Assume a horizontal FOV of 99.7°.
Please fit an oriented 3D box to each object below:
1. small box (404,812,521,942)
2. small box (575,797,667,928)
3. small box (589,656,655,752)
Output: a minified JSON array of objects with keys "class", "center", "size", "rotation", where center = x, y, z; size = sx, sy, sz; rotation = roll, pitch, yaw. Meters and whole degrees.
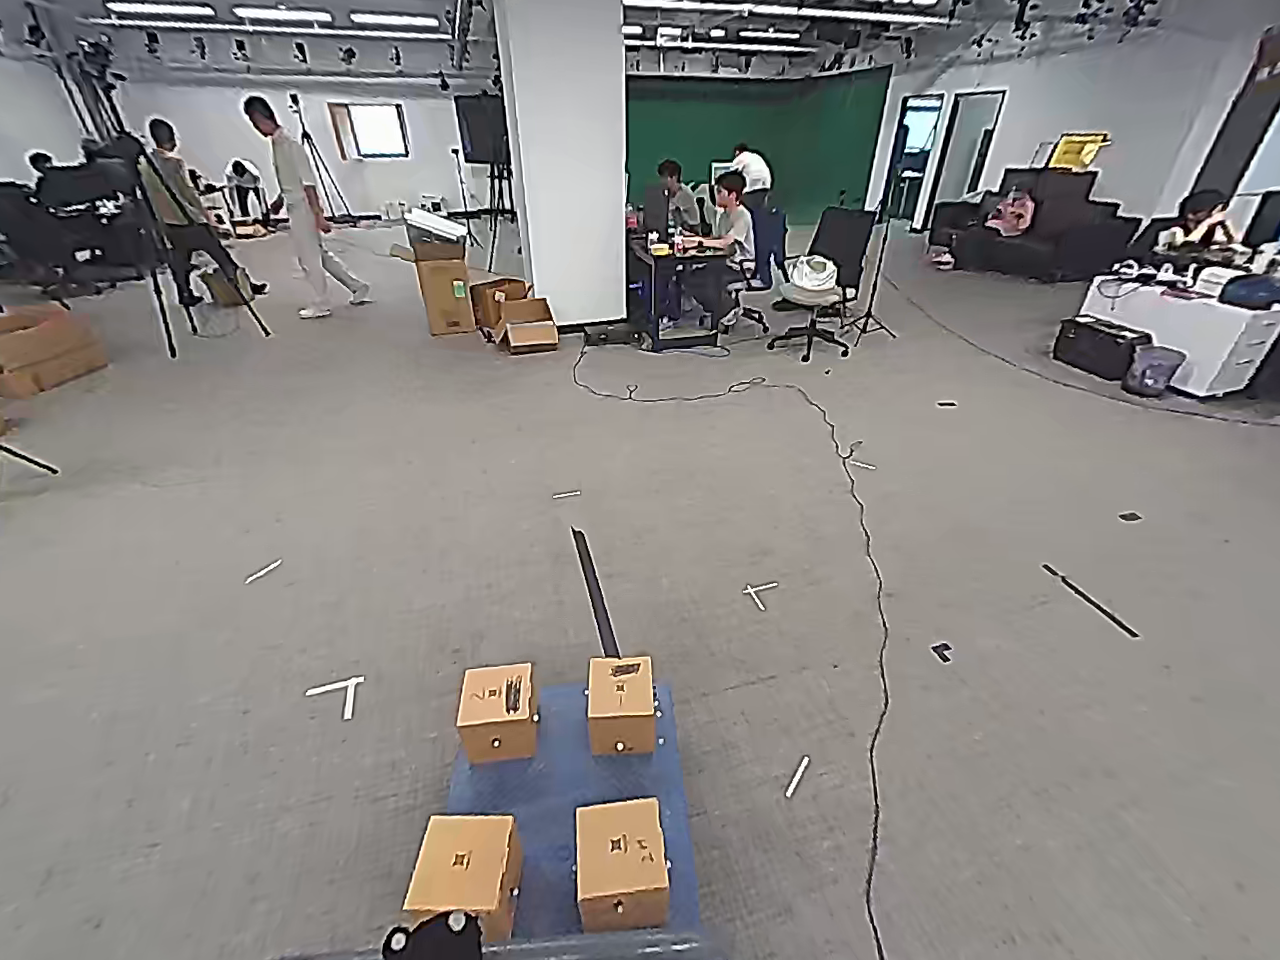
[{"class":"small box","center":[-0.349,0.807,1.100],"size":[0.179,0.176,0.168],"rotation":[1,32,-1]},{"class":"small box","center":[-0.039,0.792,1.120],"size":[0.179,0.176,0.168],"rotation":[-4,33,-5]},{"class":"small box","center":[-0.048,0.591,1.432],"size":[0.168,0.176,0.179],"rotation":[-1,34,-2]}]
